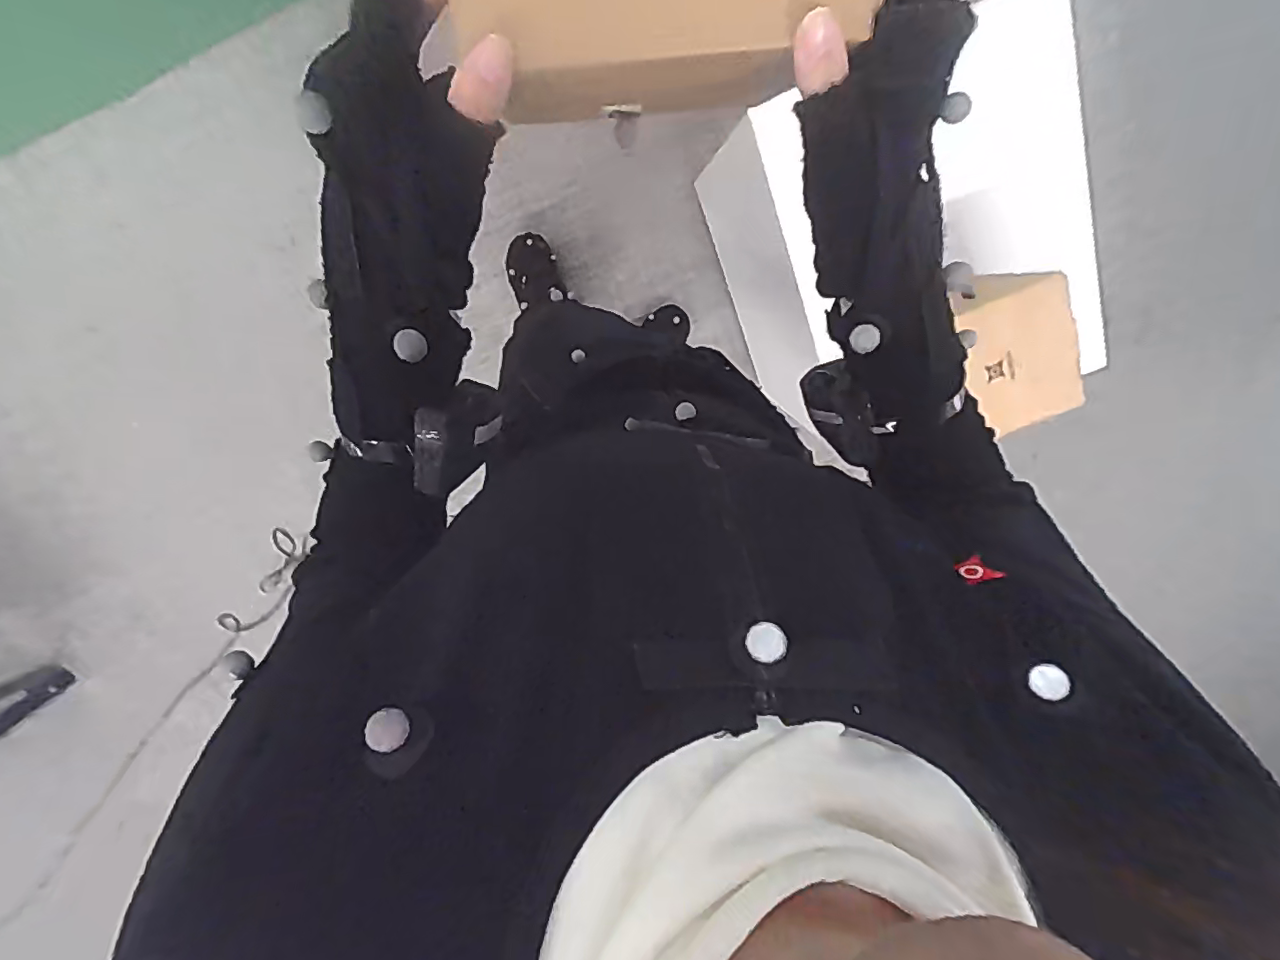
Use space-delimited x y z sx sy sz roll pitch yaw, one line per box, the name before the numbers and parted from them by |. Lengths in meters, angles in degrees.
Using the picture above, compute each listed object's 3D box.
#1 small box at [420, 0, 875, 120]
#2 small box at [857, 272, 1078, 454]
small box | -0.010 -0.273 0.228 0.168 0.176 0.179 -7 118 -2
small box | 0.417 -0.160 0.710 0.179 0.176 0.168 -22 109 6
